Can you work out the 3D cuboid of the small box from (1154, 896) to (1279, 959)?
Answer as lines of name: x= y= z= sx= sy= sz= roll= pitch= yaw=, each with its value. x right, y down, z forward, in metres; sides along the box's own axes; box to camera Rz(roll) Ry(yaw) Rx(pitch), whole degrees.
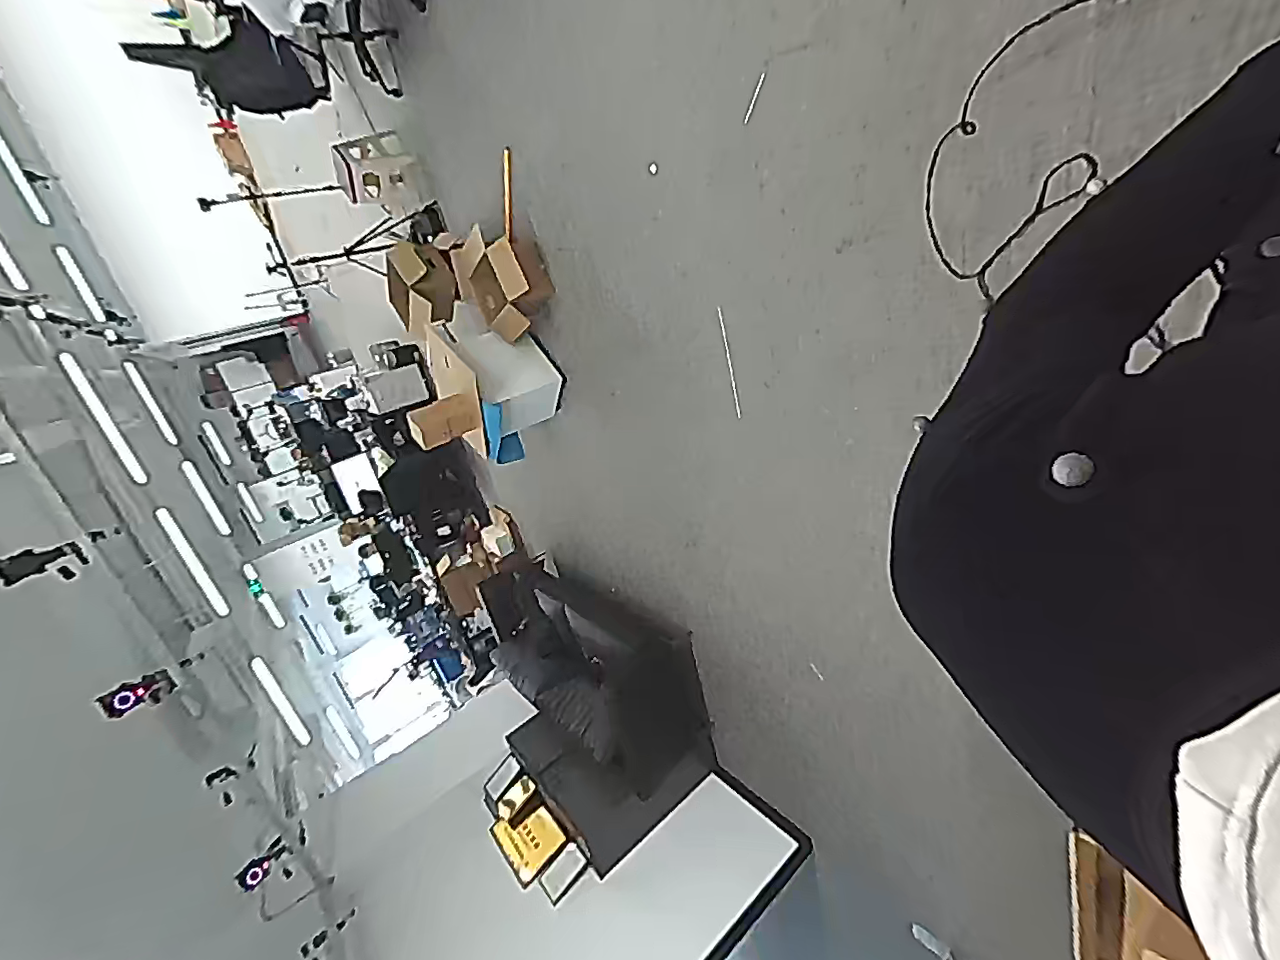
small box: x=1.257 y=1.082 z=1.184 sx=0.168 sy=0.176 sz=0.179 roll=10 pitch=123 yaw=53
